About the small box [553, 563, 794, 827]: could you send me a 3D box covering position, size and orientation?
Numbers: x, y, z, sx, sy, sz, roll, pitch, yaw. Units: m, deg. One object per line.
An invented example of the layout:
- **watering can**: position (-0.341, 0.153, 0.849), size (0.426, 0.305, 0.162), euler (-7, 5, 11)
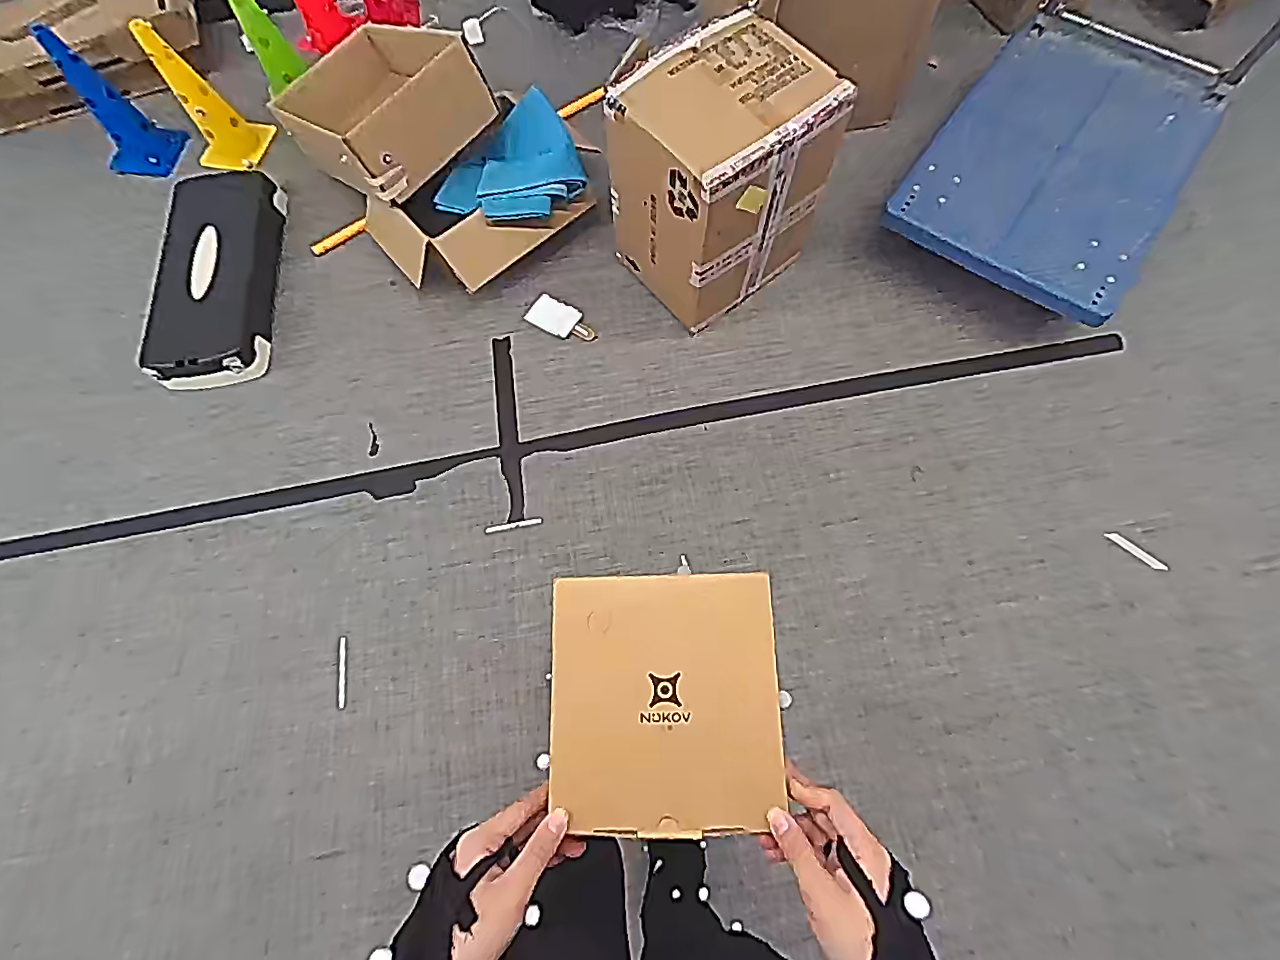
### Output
- **small box**: position (0.022, 0.170, 0.463), size (0.168, 0.176, 0.179), euler (-2, 75, 1)
